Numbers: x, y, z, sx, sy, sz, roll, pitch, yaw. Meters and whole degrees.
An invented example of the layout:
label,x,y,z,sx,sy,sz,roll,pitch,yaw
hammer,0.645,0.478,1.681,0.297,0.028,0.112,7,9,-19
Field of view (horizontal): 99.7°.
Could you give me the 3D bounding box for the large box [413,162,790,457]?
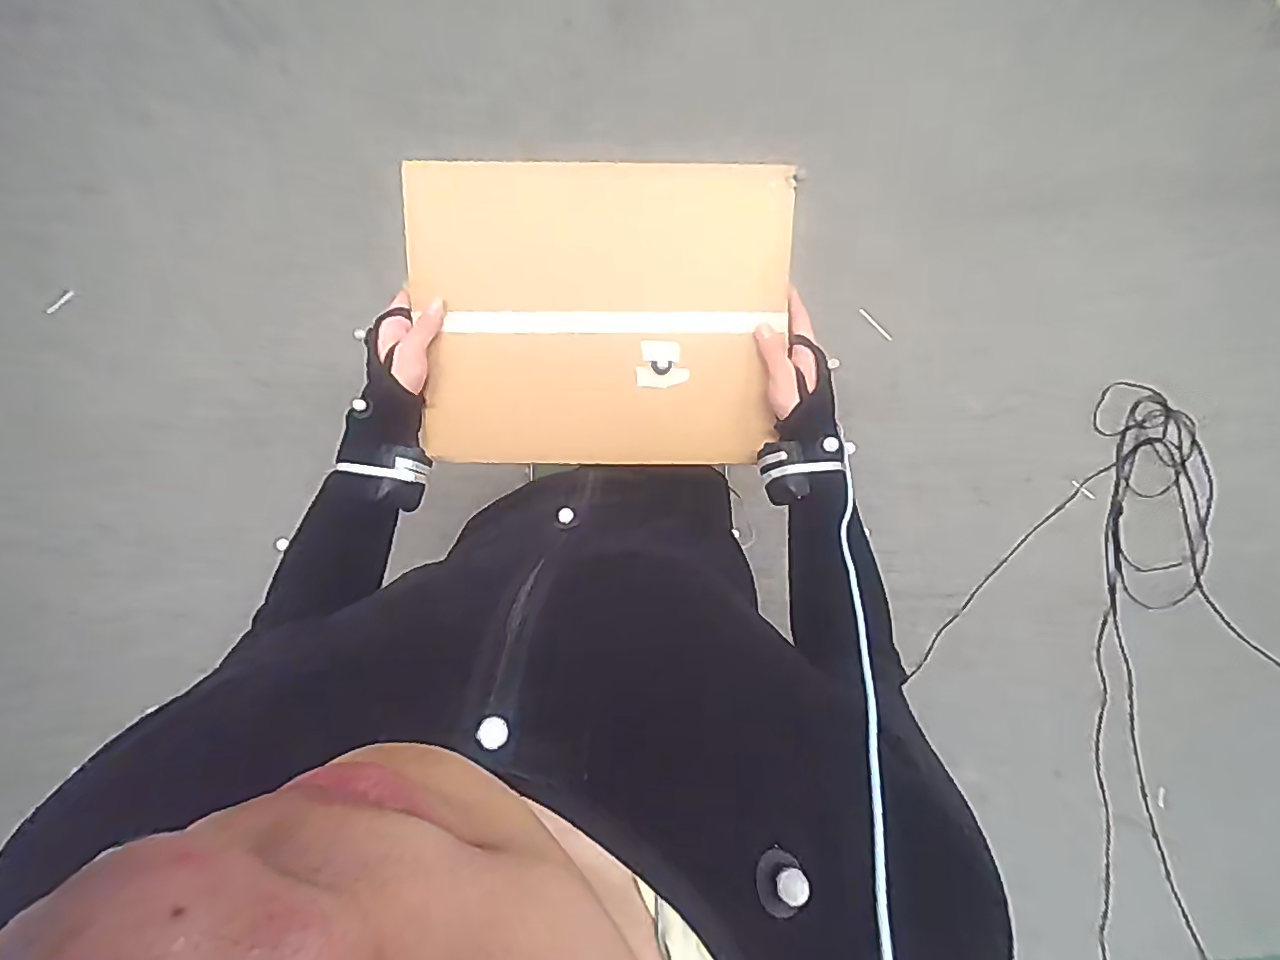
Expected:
label,x,y,z,sx,sy,sz,roll,pitch,yaw
large box,-0.043,-0.210,0.741,0.408,0.320,0.320,0,102,-1
